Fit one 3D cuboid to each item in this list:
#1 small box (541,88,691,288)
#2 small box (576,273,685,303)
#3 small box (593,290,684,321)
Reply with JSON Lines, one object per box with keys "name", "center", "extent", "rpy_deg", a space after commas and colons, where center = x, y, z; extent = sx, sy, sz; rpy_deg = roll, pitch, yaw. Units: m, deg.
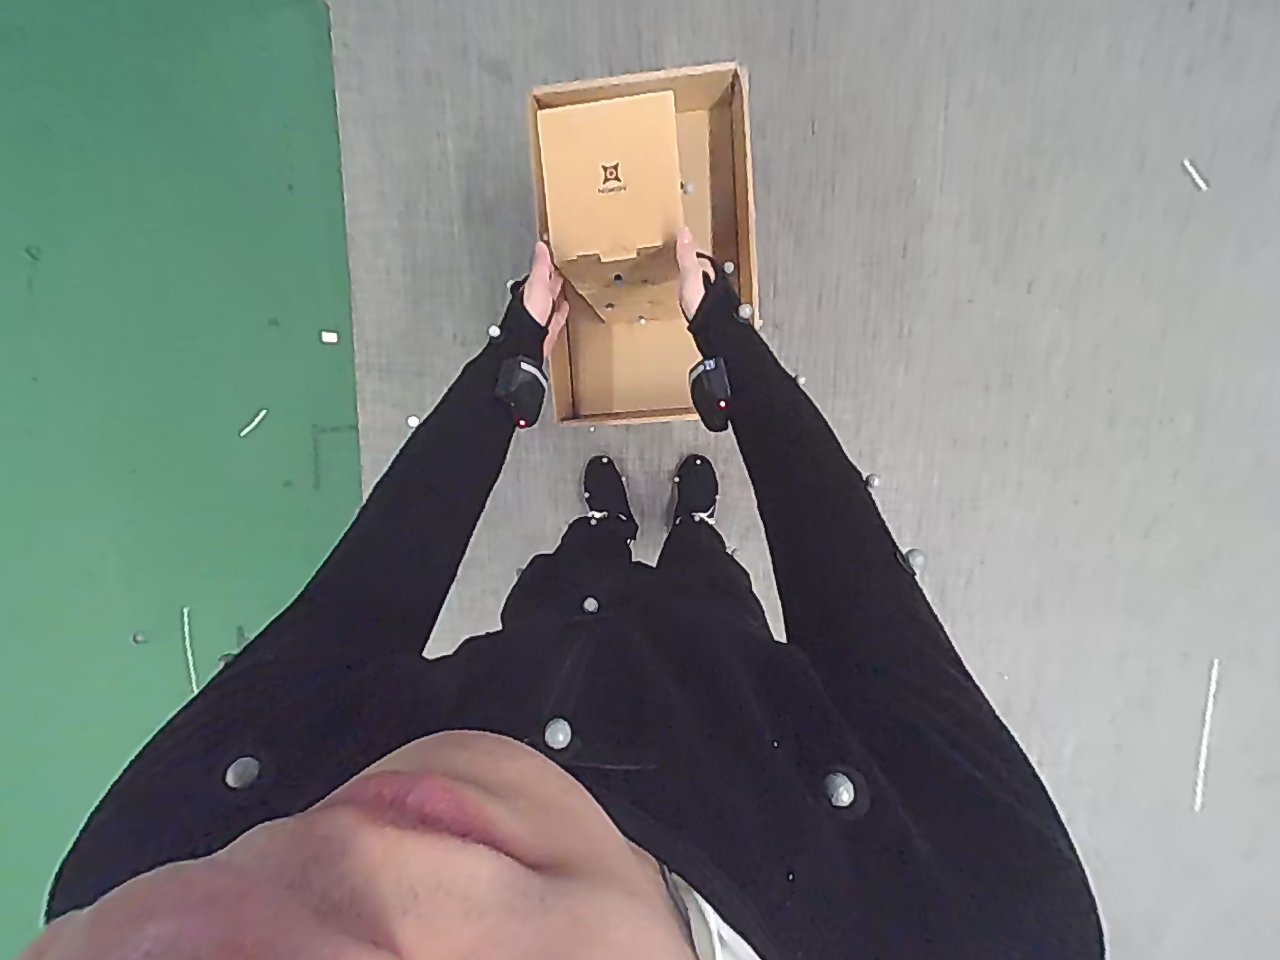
{"name": "small box", "center": [-0.024, -0.370, 0.716], "extent": [0.168, 0.176, 0.179], "rpy_deg": [-6, 97, 4]}
{"name": "small box", "center": [-0.015, -0.393, 0.877], "extent": [0.168, 0.176, 0.179], "rpy_deg": [-5, 96, 5]}
{"name": "small box", "center": [-0.001, -0.413, 1.039], "extent": [0.168, 0.176, 0.179], "rpy_deg": [-3, 97, 5]}
